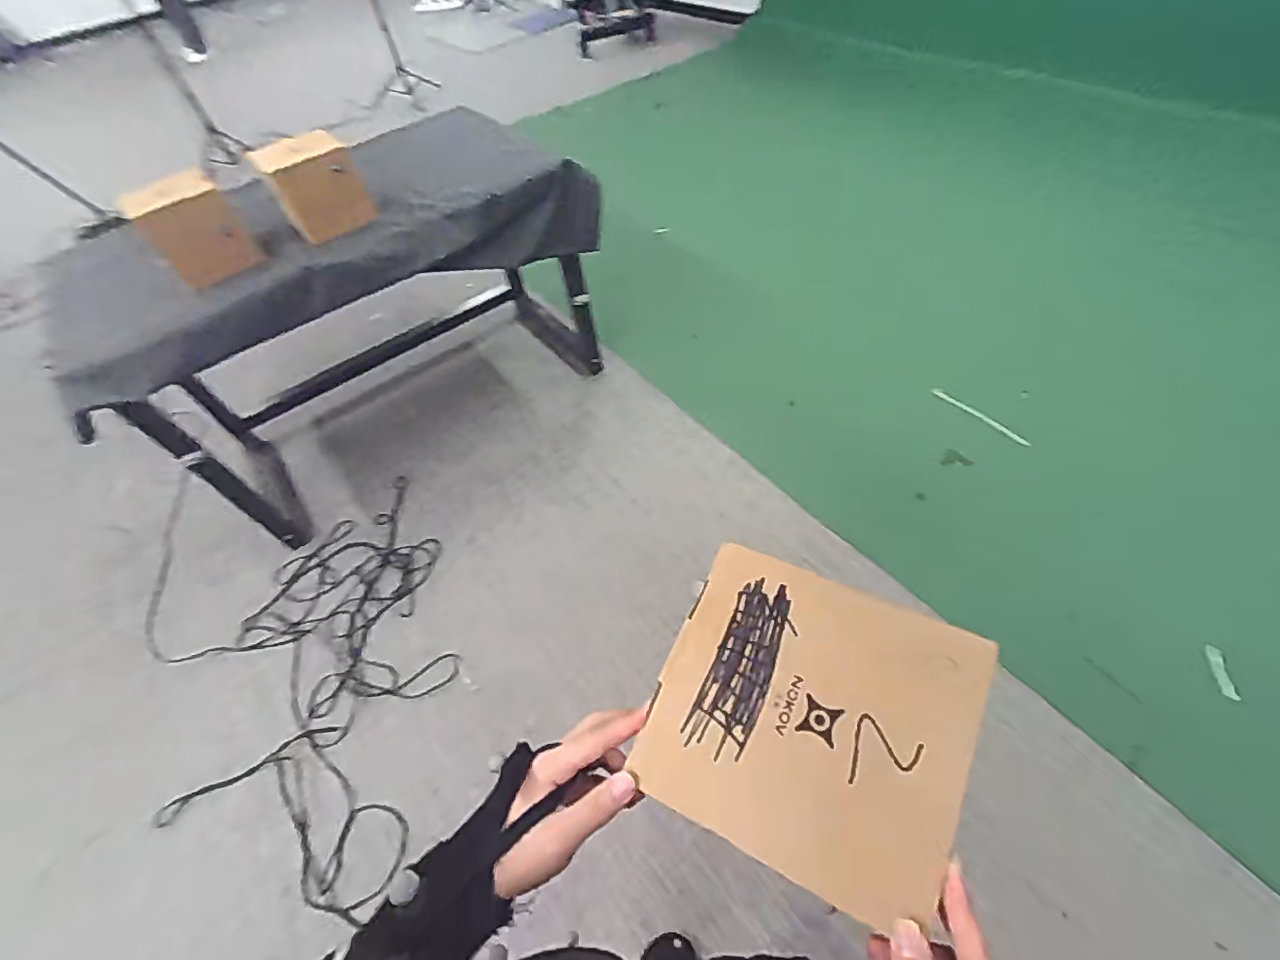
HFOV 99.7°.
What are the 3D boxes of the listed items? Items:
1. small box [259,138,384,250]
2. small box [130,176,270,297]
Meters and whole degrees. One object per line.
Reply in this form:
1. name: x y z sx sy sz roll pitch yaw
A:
1. small box: -0.751 -0.678 1.288 0.179 0.176 0.168 -35 55 -19
2. small box: -0.976 -0.546 1.216 0.179 0.176 0.168 -38 55 -19
